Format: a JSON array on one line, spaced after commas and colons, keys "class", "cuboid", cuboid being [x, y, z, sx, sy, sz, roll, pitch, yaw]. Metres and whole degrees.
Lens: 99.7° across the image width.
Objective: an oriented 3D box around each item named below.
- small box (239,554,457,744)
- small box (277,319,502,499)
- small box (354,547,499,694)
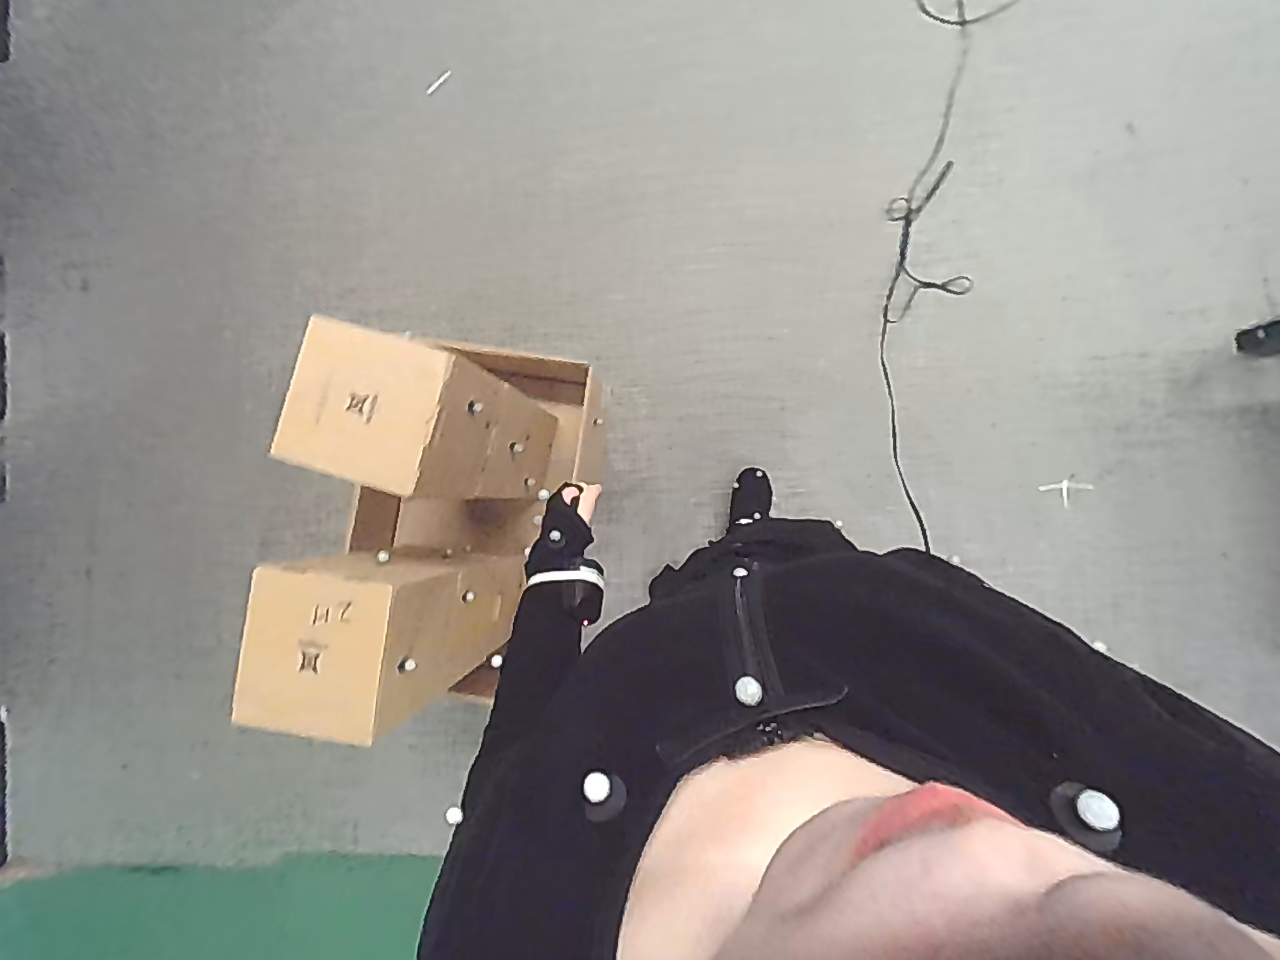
[{"class": "small box", "cuboid": [-0.347, 0.195, 0.674, 0.168, 0.176, 0.179, 7, 87, 6]}, {"class": "small box", "cuboid": [-0.297, -0.079, 0.679, 0.179, 0.176, 0.168, 16, 89, 8]}, {"class": "small box", "cuboid": [-0.332, 0.205, 0.838, 0.168, 0.176, 0.179, 7, 87, 7]}]
